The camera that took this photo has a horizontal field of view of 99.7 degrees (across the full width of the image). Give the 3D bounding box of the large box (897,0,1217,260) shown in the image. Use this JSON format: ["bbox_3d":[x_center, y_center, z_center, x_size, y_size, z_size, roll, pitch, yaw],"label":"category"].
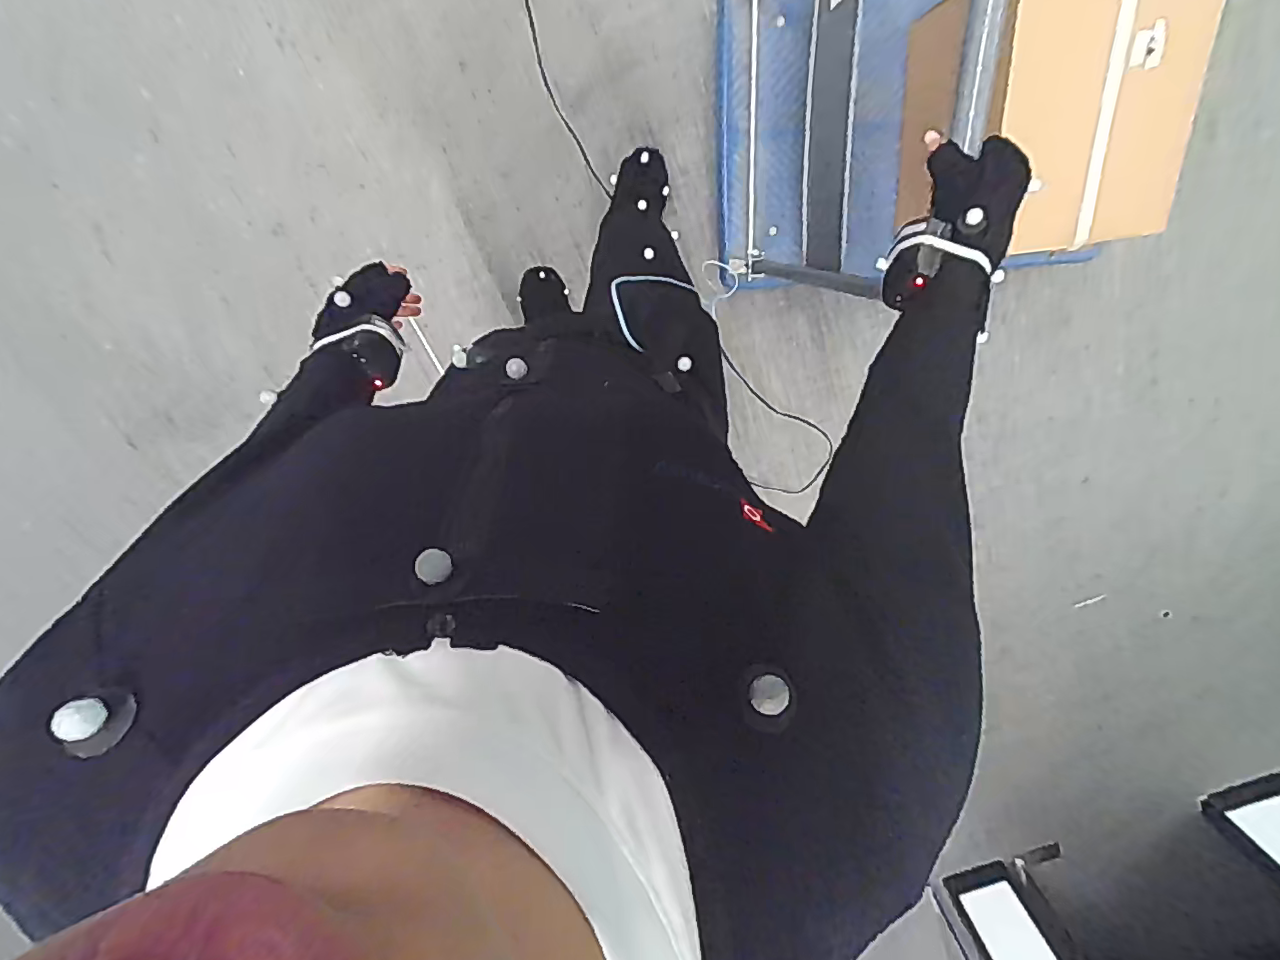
[{"bbox_3d":[0.688,-0.632,0.960,0.320,0.320,0.408,-9,115,-2],"label":"large box"}]
